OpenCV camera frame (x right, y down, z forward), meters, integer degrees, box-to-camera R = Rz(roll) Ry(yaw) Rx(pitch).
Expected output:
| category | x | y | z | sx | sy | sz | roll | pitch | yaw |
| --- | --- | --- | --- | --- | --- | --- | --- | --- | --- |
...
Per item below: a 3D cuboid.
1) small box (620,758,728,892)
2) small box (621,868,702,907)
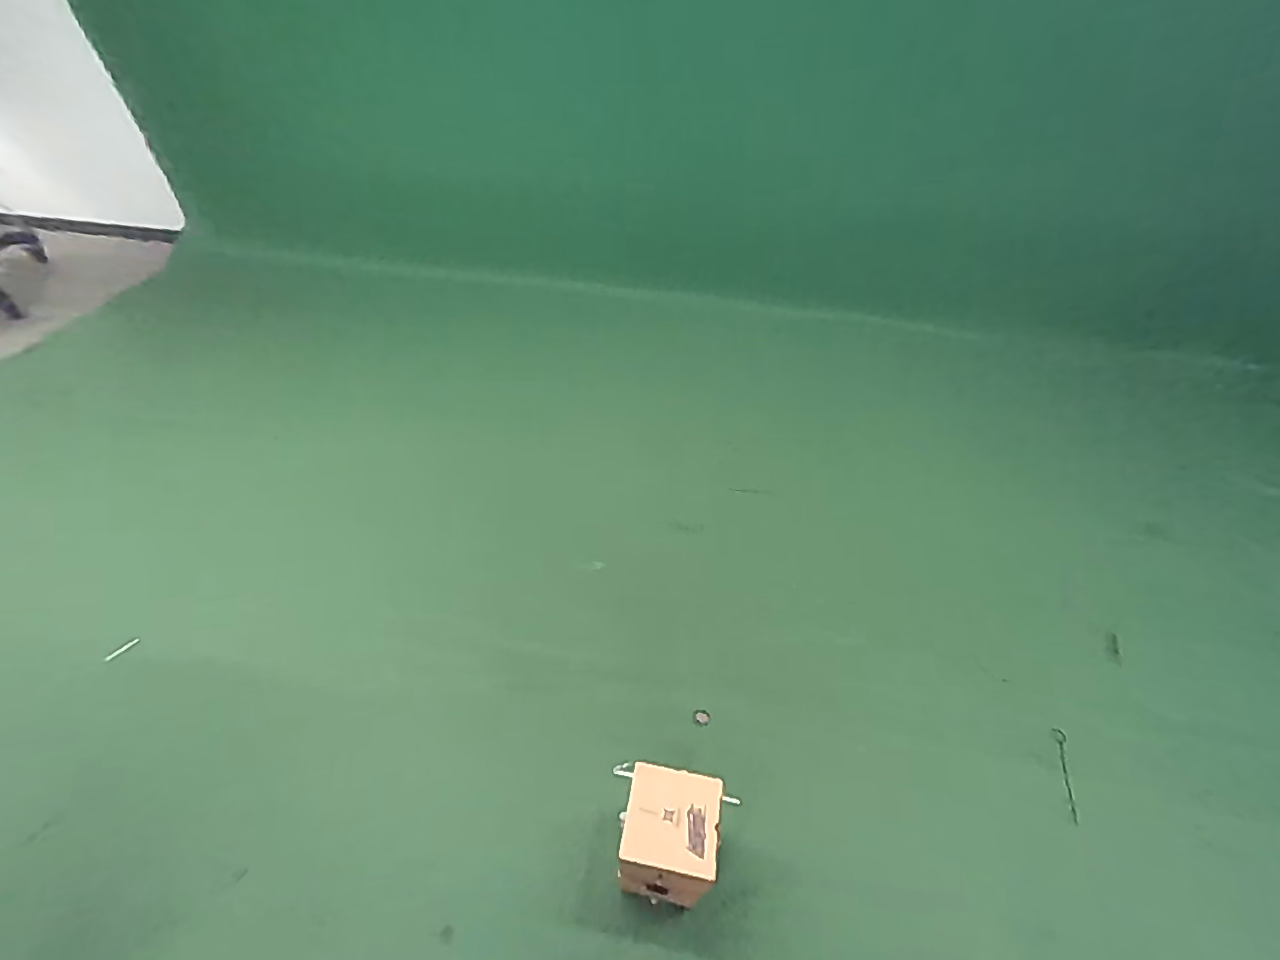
| category | x | y | z | sx | sy | sz | roll | pitch | yaw |
| --- | --- | --- | --- | --- | --- | --- | --- | --- | --- |
| small box | 0.065 | 0.677 | 1.057 | 0.179 | 0.176 | 0.168 | 11 | 45 | 9 |
| small box | 0.056 | 0.794 | 1.176 | 0.168 | 0.176 | 0.179 | 8 | 47 | 8 |
